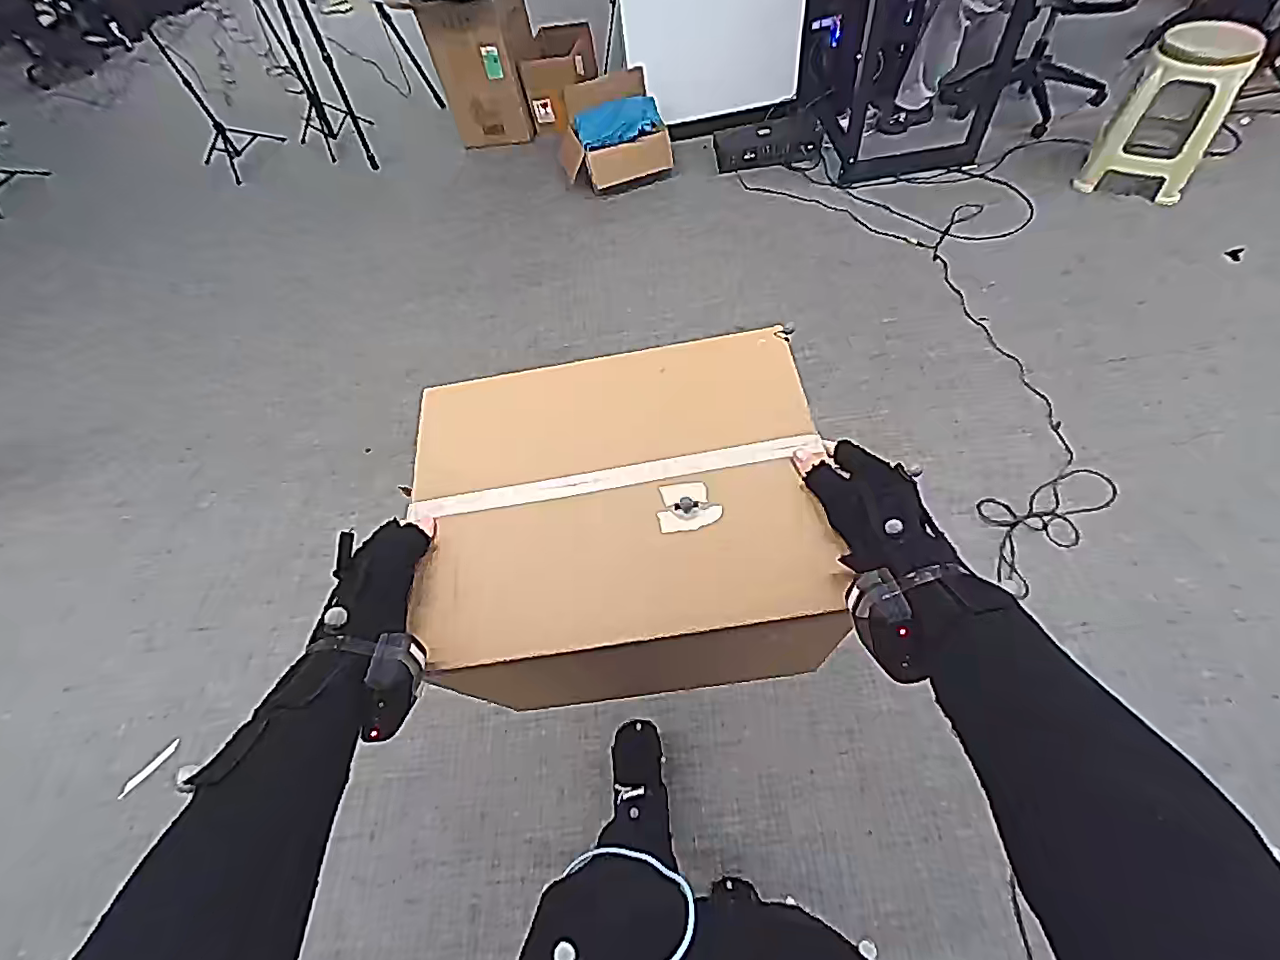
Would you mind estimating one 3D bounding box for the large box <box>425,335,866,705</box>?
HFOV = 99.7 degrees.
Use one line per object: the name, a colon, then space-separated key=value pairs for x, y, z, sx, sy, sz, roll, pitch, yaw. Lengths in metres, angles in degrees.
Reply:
large box: x=-0.001 y=0.071 z=0.674 sx=0.408 sy=0.320 sz=0.320 roll=-9 pitch=61 yaw=2
